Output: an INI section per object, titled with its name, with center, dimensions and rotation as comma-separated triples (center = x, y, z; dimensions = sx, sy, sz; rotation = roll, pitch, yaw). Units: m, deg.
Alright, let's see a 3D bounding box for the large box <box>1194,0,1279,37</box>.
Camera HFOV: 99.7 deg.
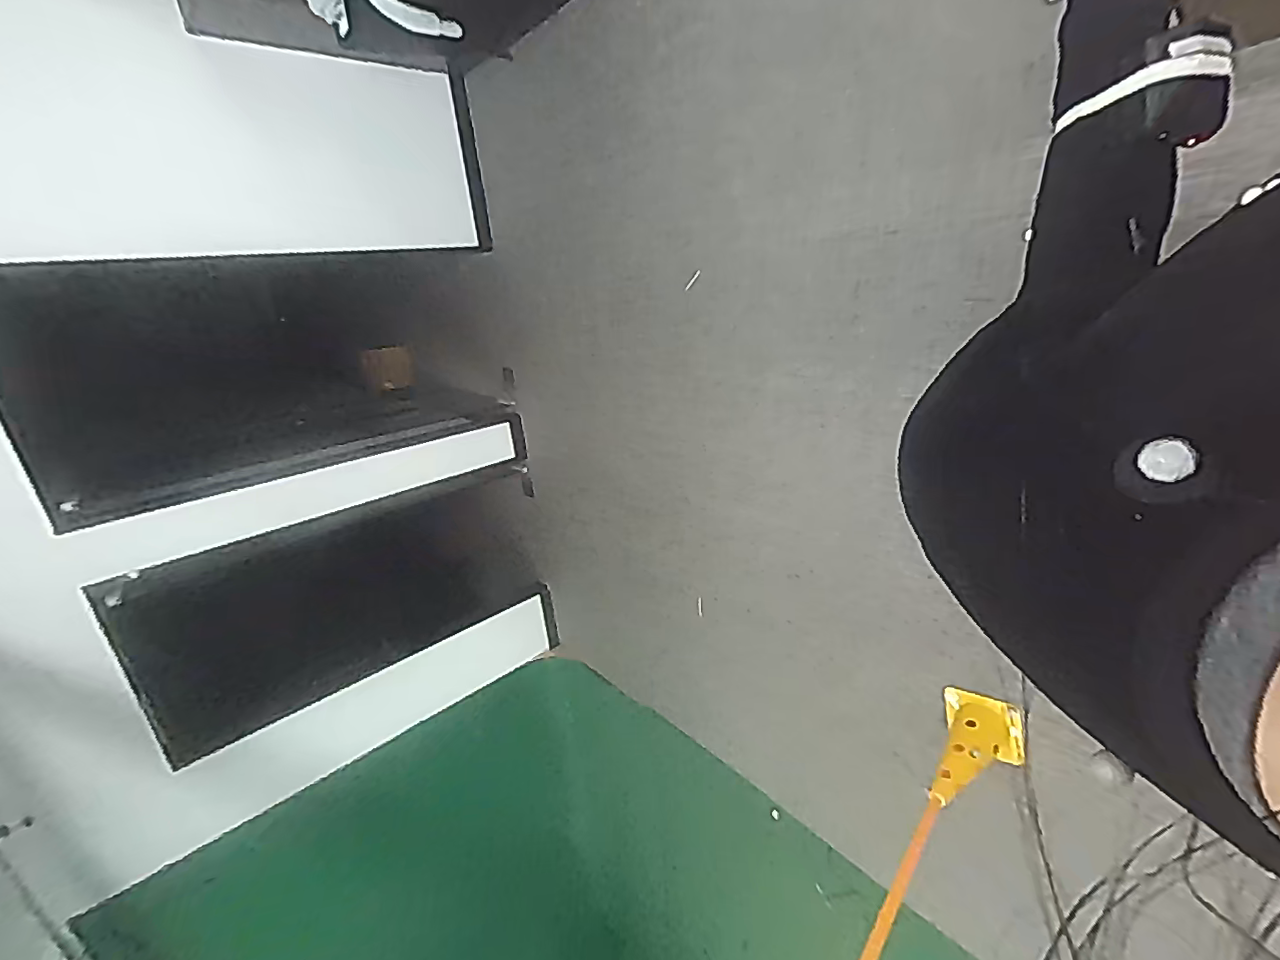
[large box]
center = 0.577, -0.496, 0.256
dimensions = 0.408, 0.320, 0.320
rotation = 12, 118, 45
